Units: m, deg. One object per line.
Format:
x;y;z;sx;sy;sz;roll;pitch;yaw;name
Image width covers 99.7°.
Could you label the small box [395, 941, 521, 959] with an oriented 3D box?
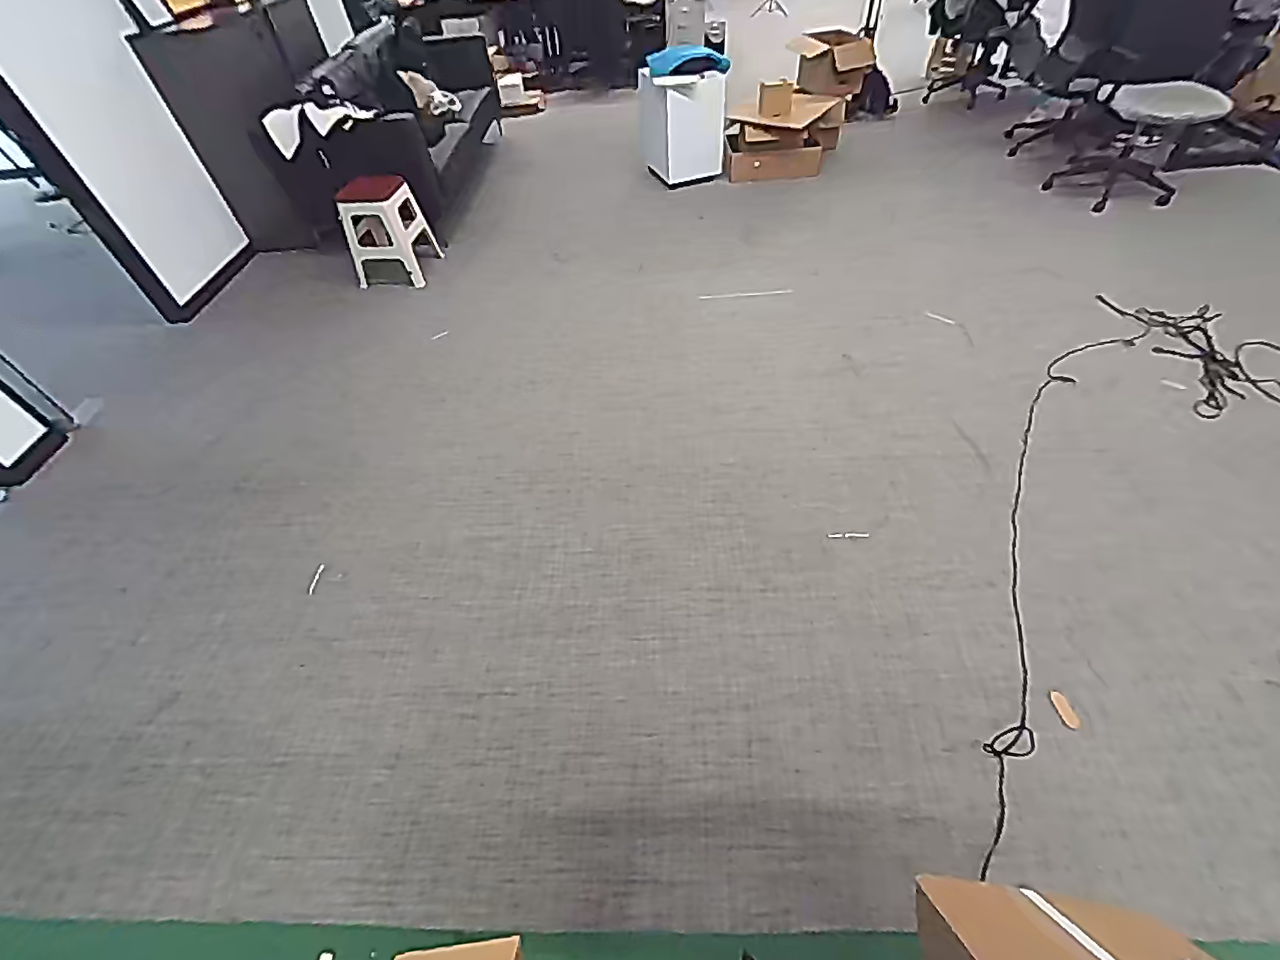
-0.231;0.691;0.621;0.168;0.179;0.176;-7;83;-3;small box
